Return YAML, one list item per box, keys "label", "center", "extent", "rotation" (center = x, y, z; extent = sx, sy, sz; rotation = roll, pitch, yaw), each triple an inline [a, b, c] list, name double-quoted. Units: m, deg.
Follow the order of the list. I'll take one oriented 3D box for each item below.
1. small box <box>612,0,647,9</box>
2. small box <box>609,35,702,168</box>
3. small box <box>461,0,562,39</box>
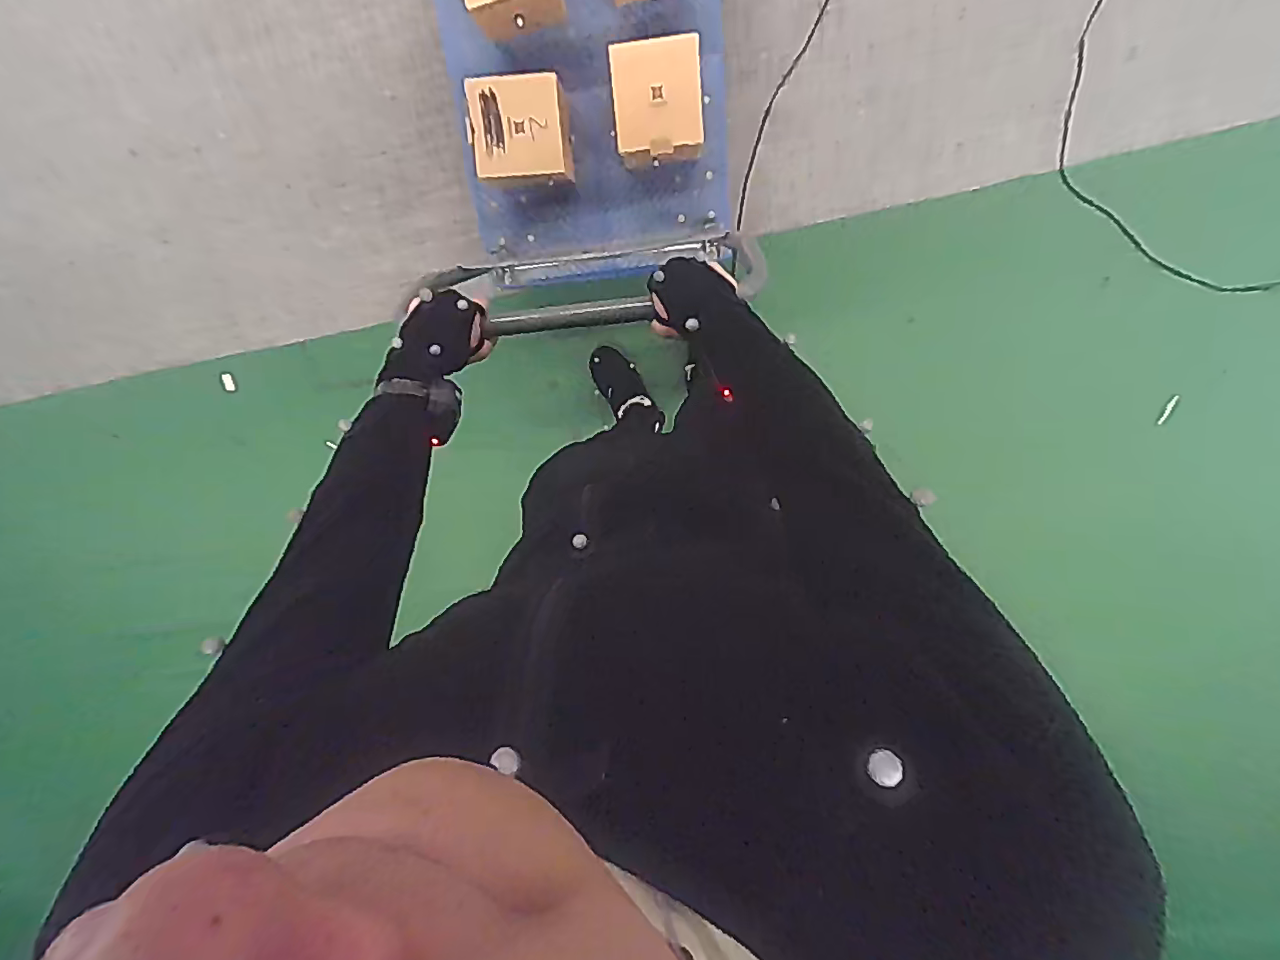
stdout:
- label: "small box"
  center: [0.001, -1.009, 0.973]
  extent: [0.168, 0.176, 0.179]
  rotation: [-12, 112, 7]
- label: "small box"
  center: [0.032, -0.745, 1.083]
  extent: [0.168, 0.176, 0.179]
  rotation: [-6, 113, 4]
- label: "small box"
  center: [-0.253, -0.958, 1.000]
  extent: [0.168, 0.176, 0.179]
  rotation: [-13, 111, 6]
